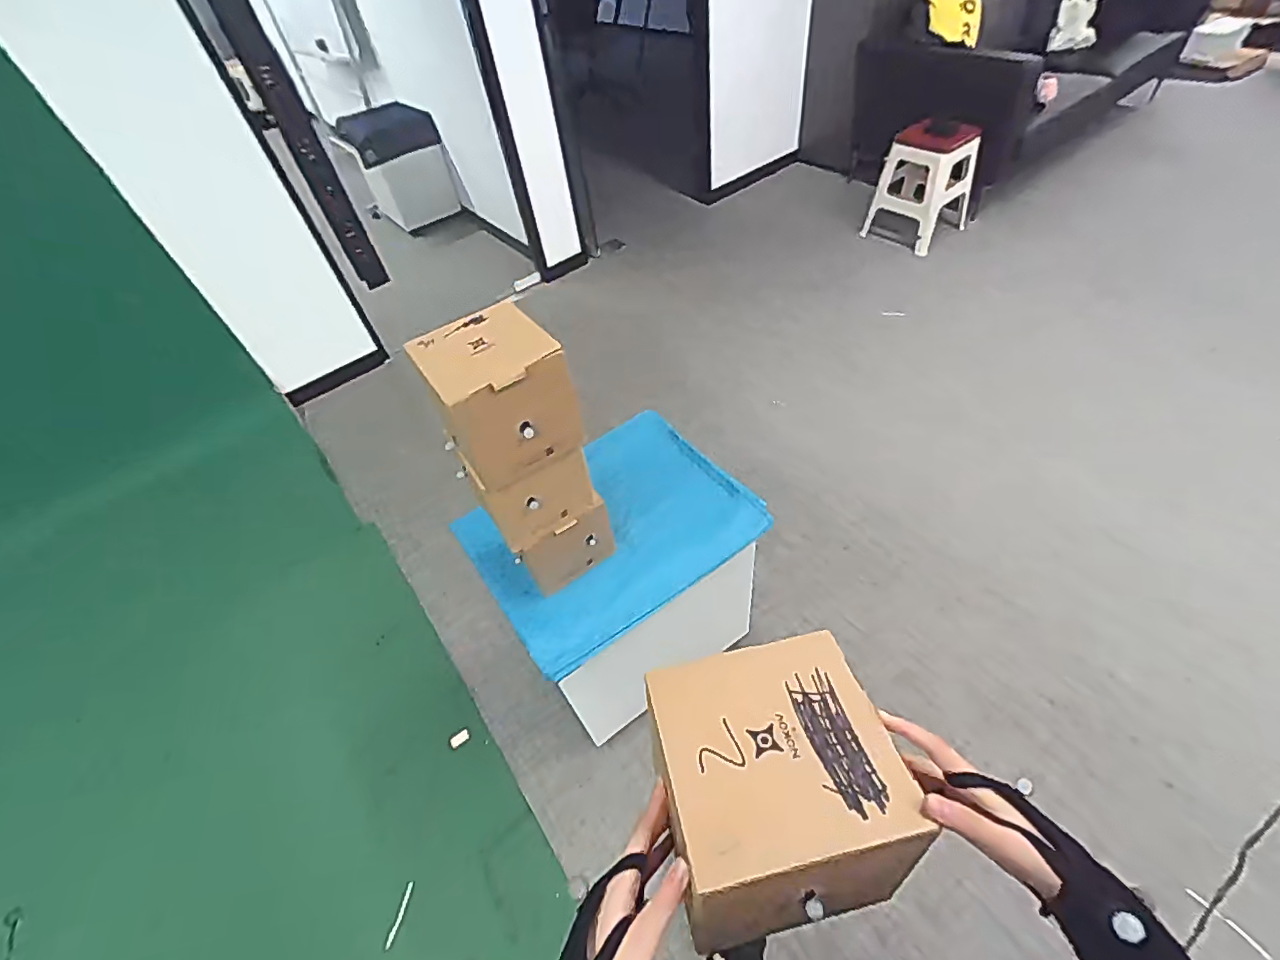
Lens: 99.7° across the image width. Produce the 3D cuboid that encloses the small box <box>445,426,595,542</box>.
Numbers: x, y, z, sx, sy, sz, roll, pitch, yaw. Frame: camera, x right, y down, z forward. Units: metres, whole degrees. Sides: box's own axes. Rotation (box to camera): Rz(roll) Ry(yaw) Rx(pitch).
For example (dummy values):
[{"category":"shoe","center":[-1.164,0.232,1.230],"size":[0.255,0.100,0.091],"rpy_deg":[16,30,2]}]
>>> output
[{"category":"small box","center":[-0.193,-0.020,0.905],"size":[0.168,0.176,0.179],"rpy_deg":[-30,50,-18]}]

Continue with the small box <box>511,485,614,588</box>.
[{"category":"small box","center":[-0.165,0.080,1.029],"size":[0.168,0.176,0.179],"rpy_deg":[-31,51,-19]}]

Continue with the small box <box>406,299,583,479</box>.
[{"category":"small box","center":[-0.201,-0.124,0.778],"size":[0.168,0.176,0.179],"rpy_deg":[-30,51,-18]}]
